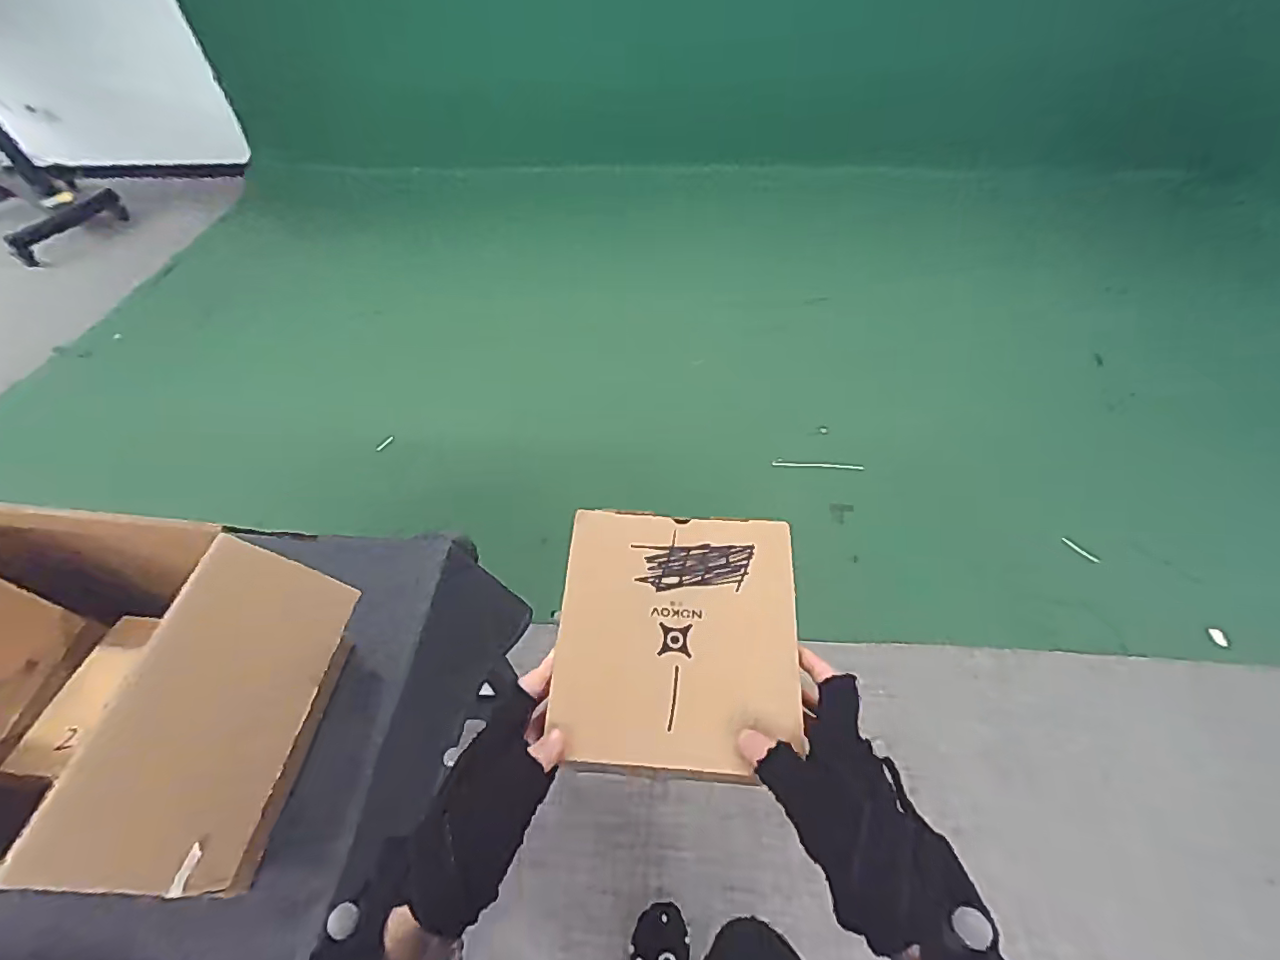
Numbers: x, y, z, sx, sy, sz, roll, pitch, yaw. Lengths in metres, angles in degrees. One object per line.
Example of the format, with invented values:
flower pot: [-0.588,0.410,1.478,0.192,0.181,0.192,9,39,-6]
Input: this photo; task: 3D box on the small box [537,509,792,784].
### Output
small box: [0.021,0.145,0.452,0.168,0.176,0.179,4,59,3]
